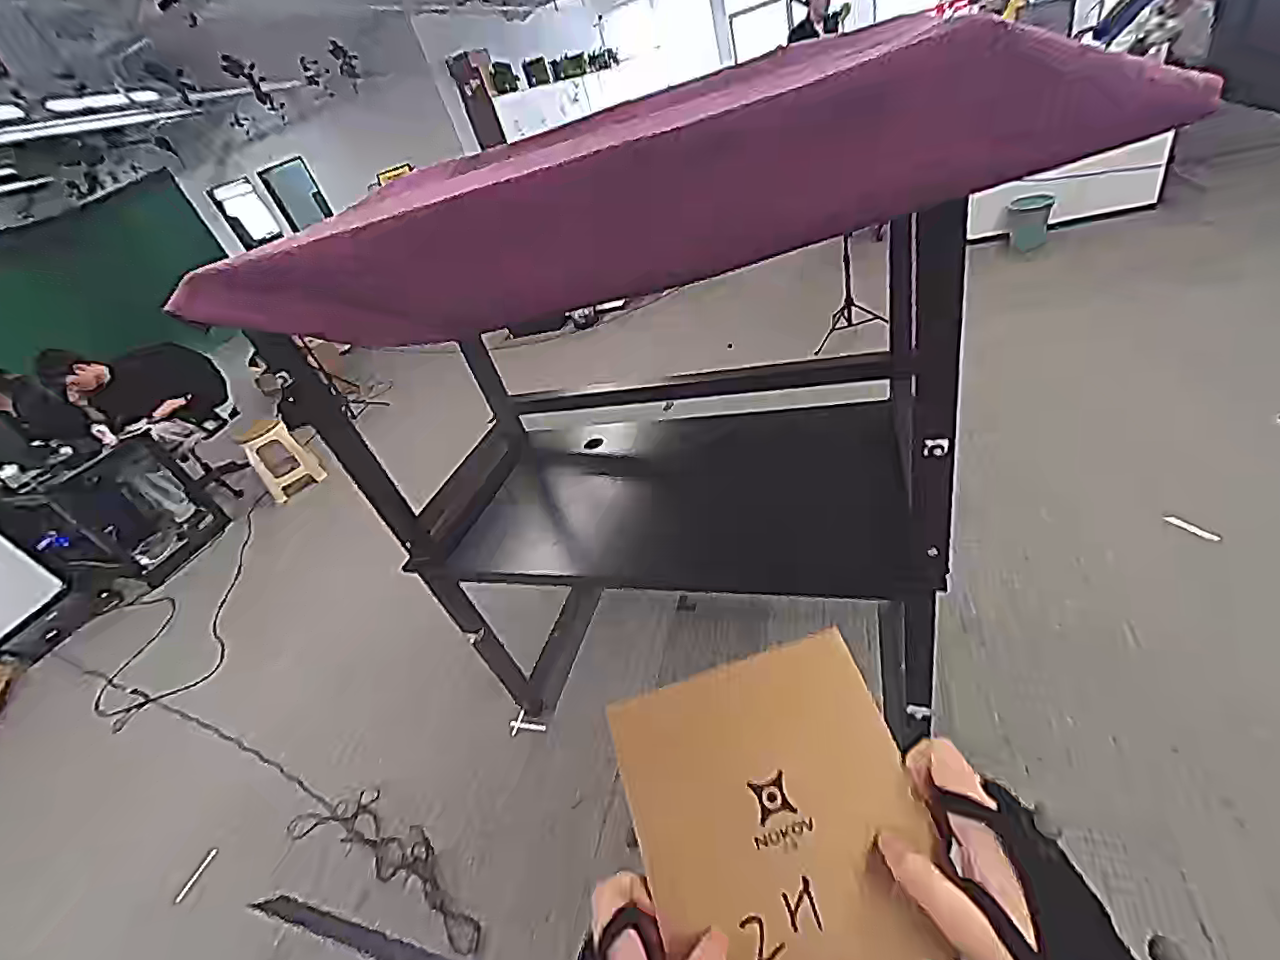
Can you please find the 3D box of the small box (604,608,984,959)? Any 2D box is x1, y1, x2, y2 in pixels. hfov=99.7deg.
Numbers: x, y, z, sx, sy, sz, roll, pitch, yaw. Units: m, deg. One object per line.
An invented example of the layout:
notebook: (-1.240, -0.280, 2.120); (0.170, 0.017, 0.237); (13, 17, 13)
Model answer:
small box: (0.084, 0.216, 0.383); (0.168, 0.176, 0.179); (-18, 62, -2)
